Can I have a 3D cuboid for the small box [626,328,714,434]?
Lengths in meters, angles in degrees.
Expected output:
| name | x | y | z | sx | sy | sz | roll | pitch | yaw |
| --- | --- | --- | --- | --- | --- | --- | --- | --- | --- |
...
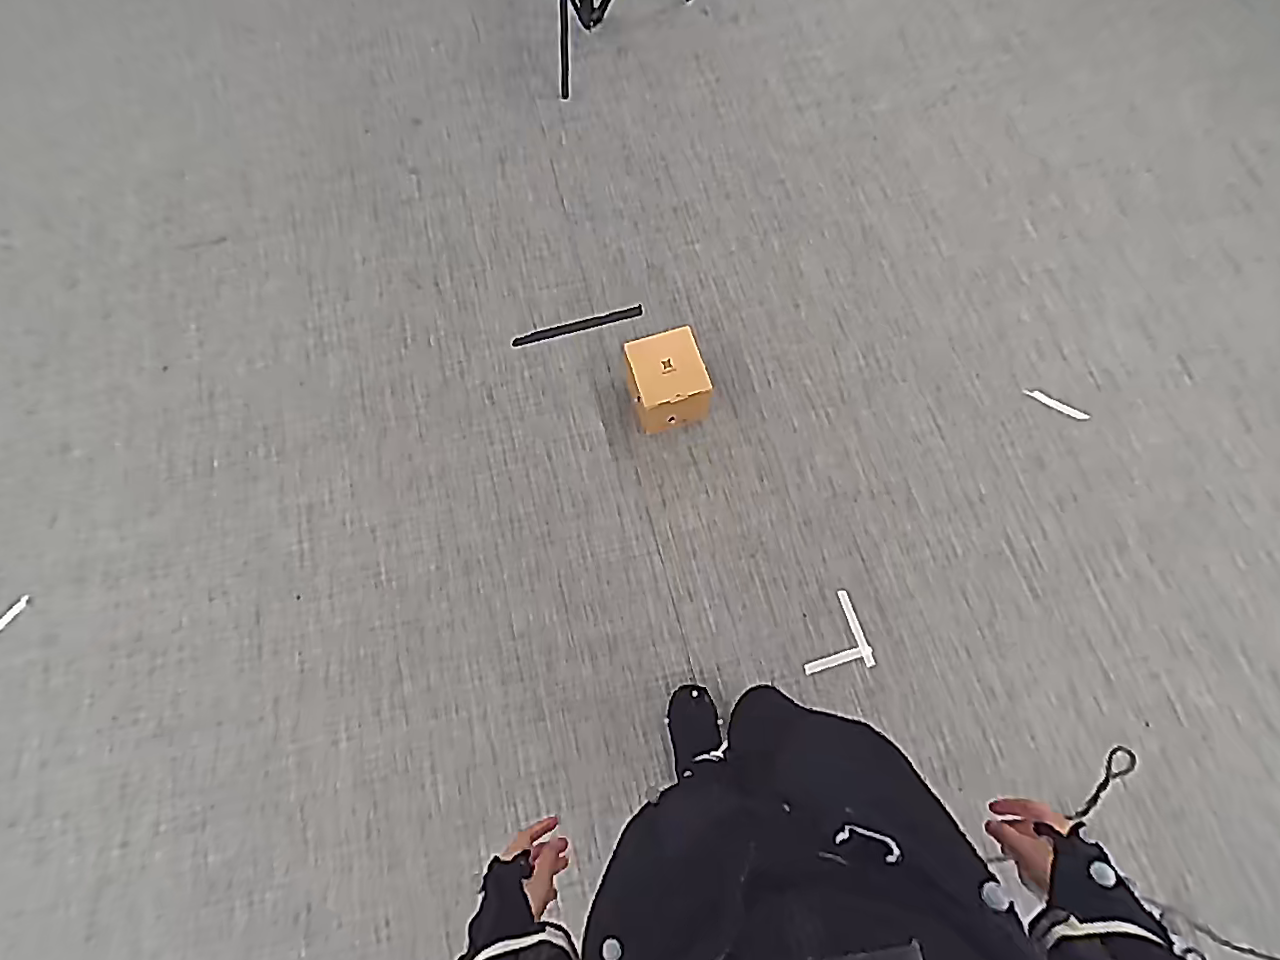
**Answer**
| name | x | y | z | sx | sy | sz | roll | pitch | yaw |
| --- | --- | --- | --- | --- | --- | --- | --- | --- | --- |
| small box | 0.067 | -0.236 | 1.325 | 0.168 | 0.176 | 0.179 | -17 | 75 | -4 |
